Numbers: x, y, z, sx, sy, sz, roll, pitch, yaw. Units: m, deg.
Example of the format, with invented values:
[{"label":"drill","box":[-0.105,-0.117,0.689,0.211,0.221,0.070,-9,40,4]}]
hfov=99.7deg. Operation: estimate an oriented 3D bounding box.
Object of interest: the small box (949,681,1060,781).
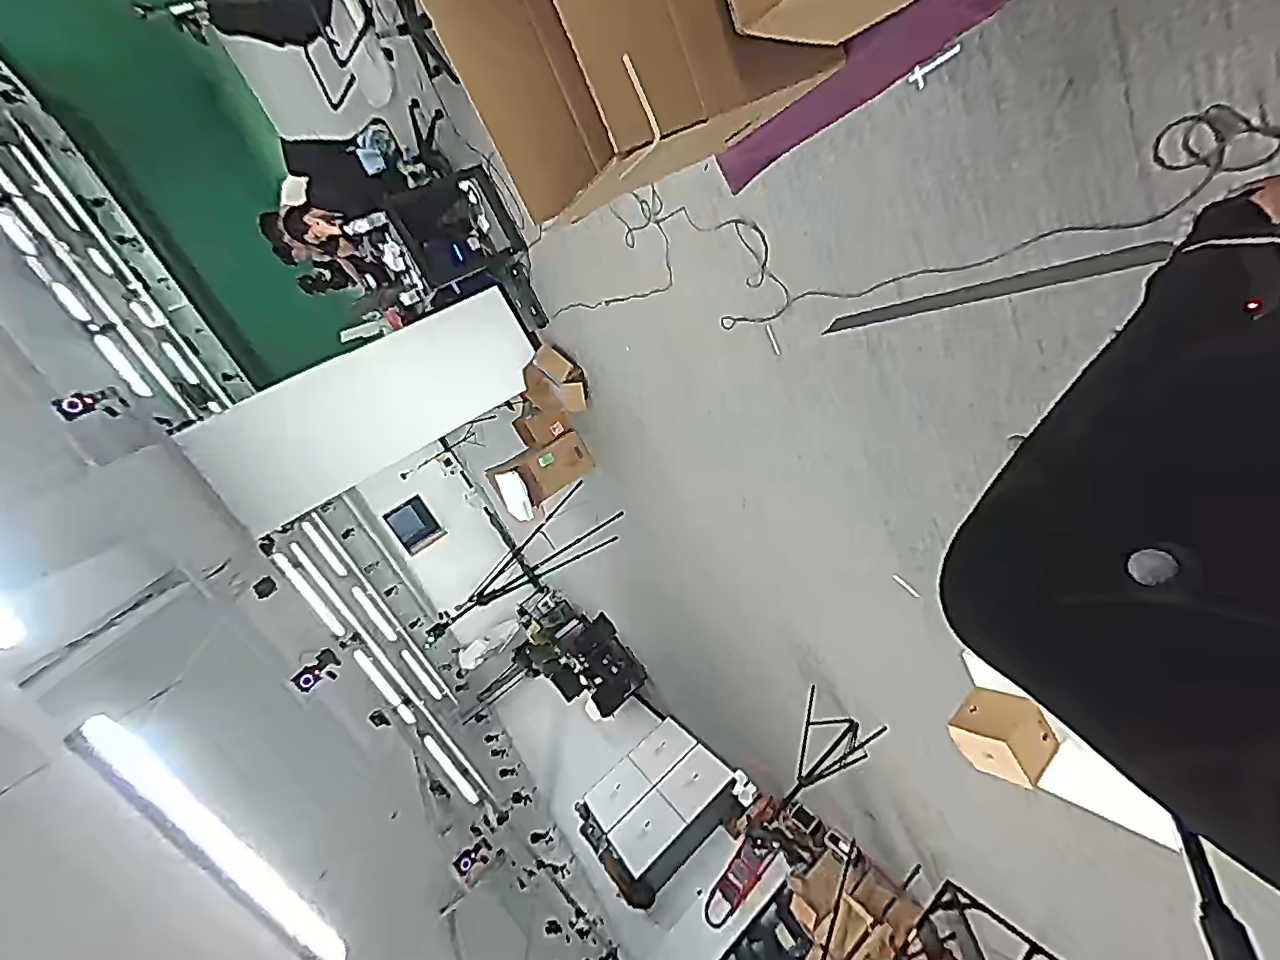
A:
[{"label":"small box","box":[1.034,0.701,1.533,0.168,0.176,0.179,56,157,-7]}]
